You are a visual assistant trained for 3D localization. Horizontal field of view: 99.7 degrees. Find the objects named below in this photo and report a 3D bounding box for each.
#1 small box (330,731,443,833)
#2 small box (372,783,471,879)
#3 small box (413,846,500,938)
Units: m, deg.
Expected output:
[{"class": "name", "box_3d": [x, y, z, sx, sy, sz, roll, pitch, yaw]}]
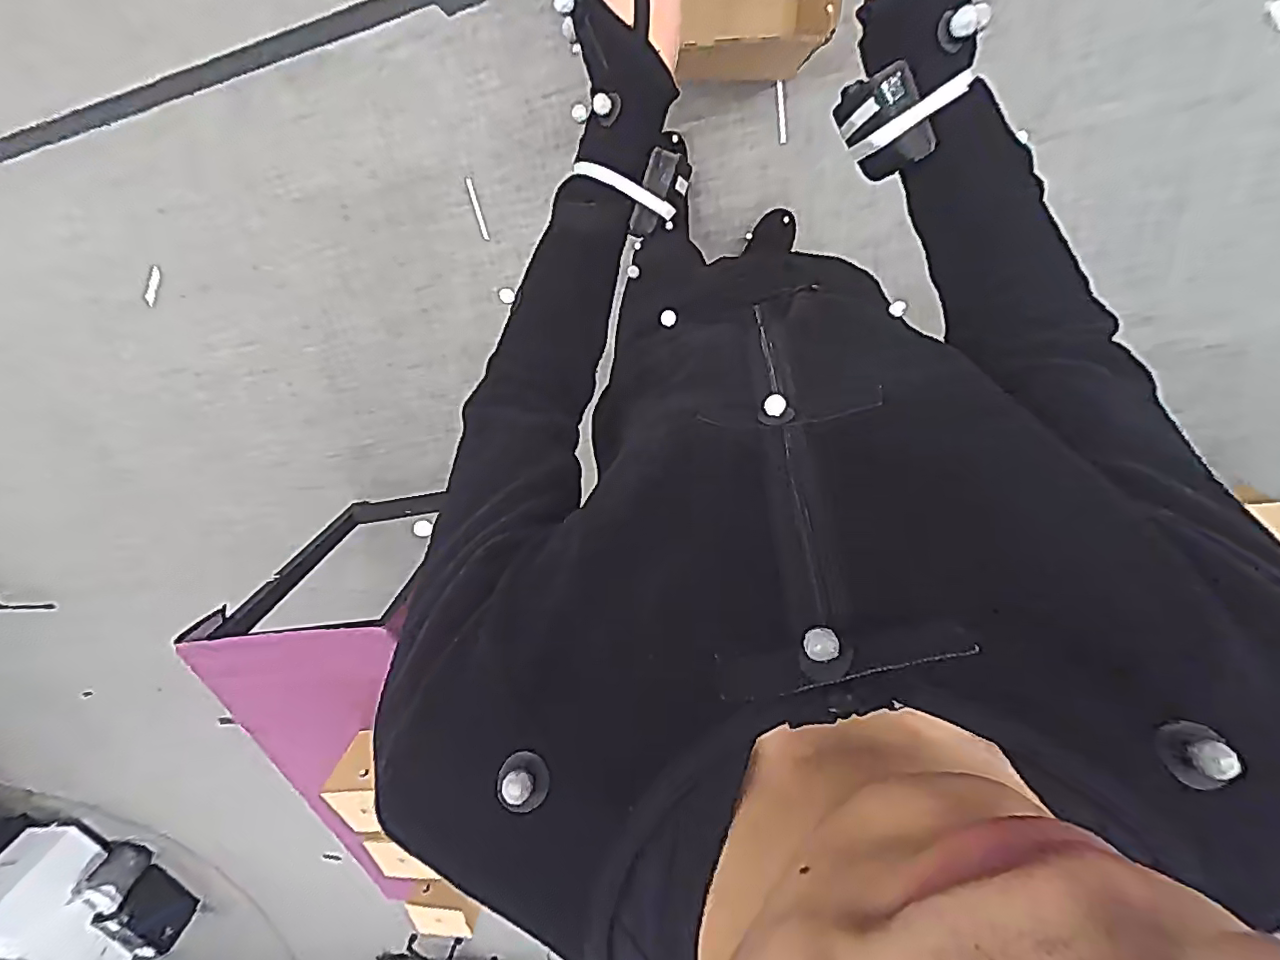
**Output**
[{"class": "small box", "box_3d": [-0.625, 0.760, 1.368, 0.179, 0.176, 0.168, -11, 117, 15]}, {"class": "small box", "box_3d": [-0.581, 0.950, 1.472, 0.179, 0.176, 0.168, -5, 118, 11]}, {"class": "small box", "box_3d": [-0.543, 1.227, 1.621, 0.179, 0.176, 0.168, 0, 120, 7]}]
